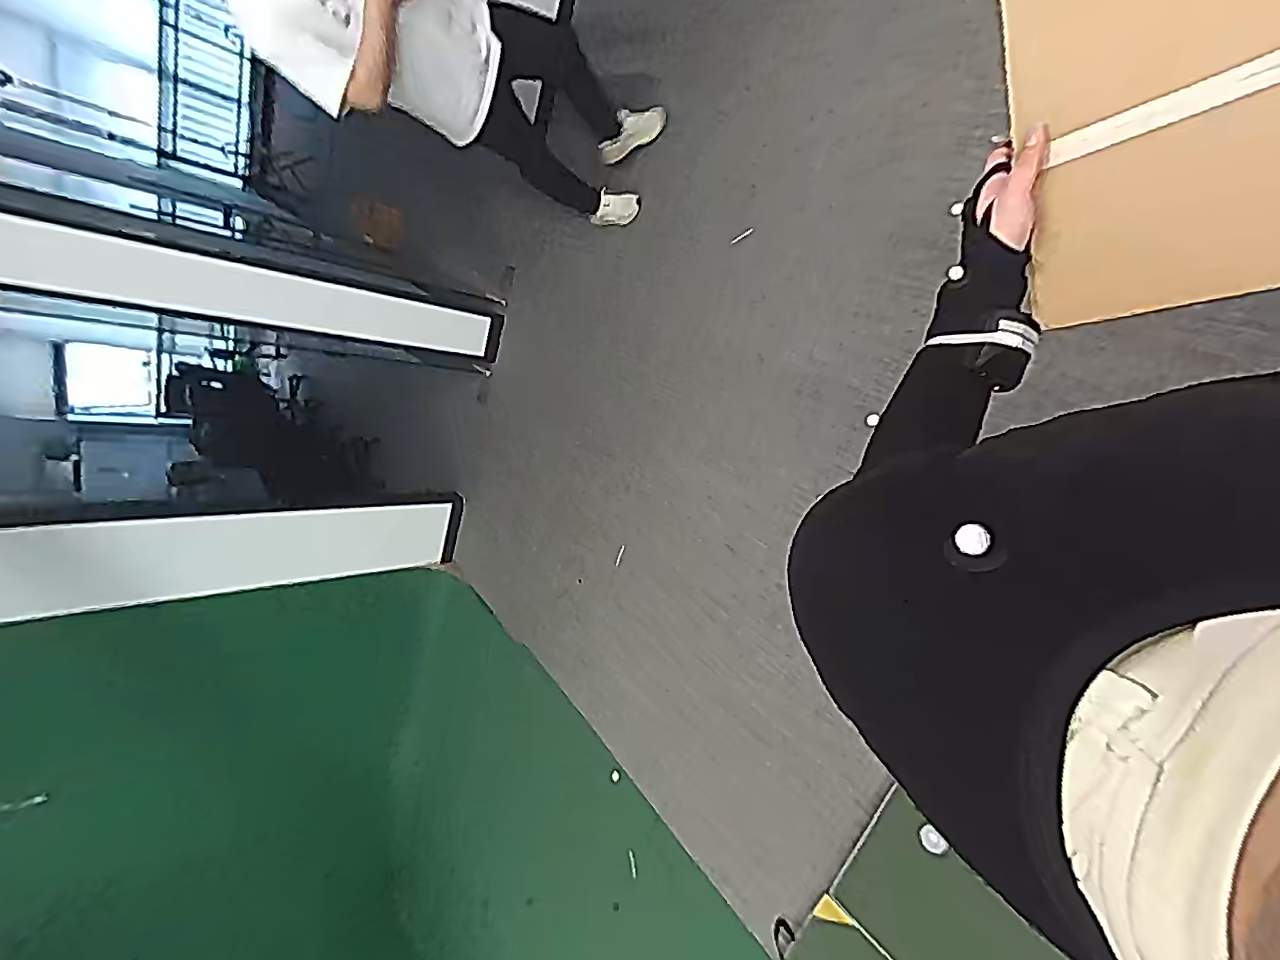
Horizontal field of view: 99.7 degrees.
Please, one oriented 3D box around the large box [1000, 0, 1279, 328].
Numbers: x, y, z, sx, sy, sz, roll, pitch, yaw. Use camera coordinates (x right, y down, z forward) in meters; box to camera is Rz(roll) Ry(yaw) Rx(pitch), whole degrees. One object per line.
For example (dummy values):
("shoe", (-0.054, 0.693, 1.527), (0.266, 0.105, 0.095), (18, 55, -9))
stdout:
("large box", (0.602, -0.343, 0.473), (0.408, 0.320, 0.320), (-4, 102, 48))
